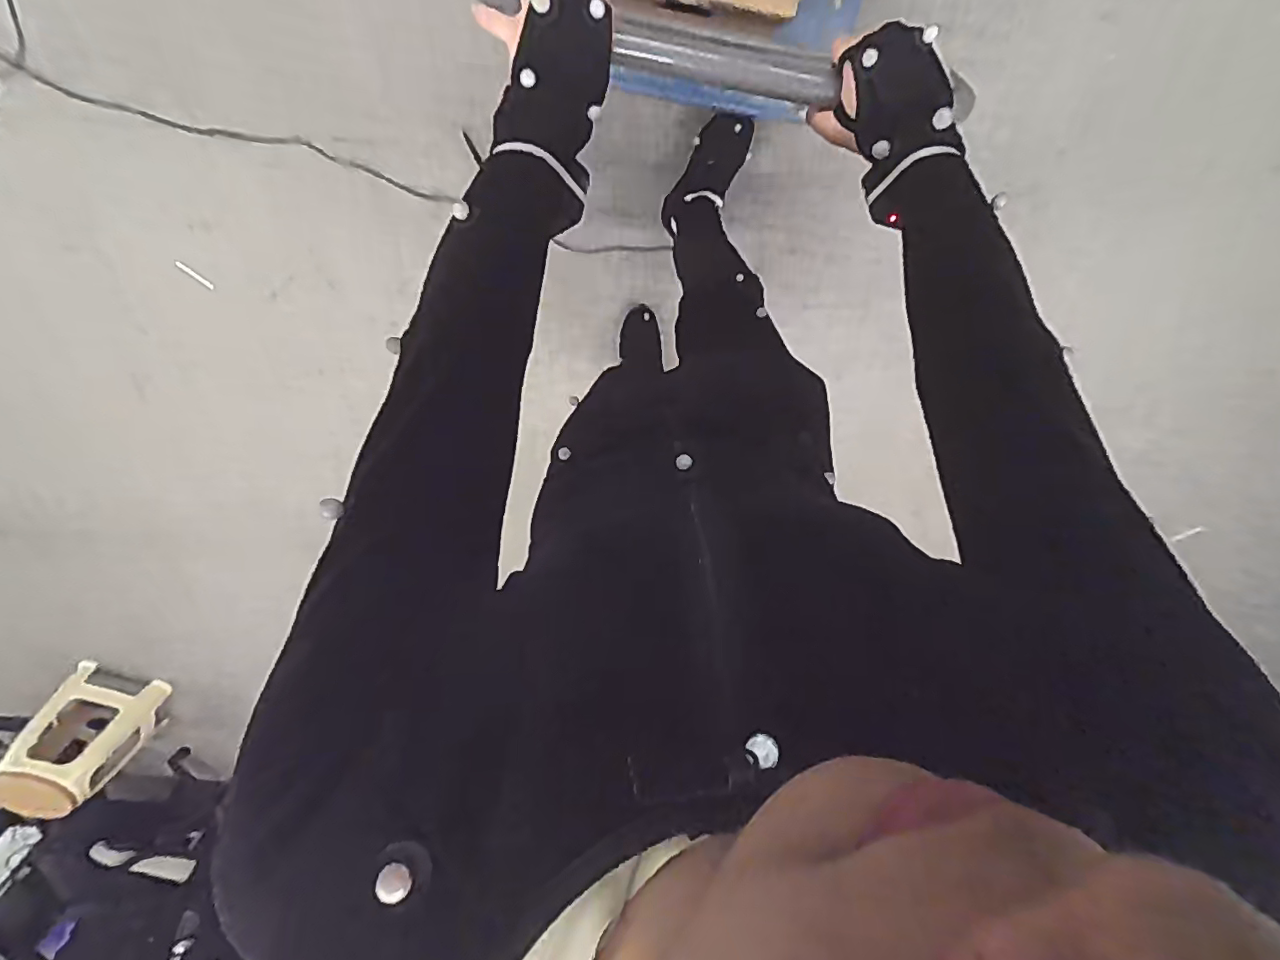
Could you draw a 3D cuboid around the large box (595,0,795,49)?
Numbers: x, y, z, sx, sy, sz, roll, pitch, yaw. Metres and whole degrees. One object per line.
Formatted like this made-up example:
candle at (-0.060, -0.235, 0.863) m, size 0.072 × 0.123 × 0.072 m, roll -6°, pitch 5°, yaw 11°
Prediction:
large box at (0.100, -0.933, 0.797) m, size 0.320 × 0.320 × 0.408 m, roll 8°, pitch 120°, yaw -5°
